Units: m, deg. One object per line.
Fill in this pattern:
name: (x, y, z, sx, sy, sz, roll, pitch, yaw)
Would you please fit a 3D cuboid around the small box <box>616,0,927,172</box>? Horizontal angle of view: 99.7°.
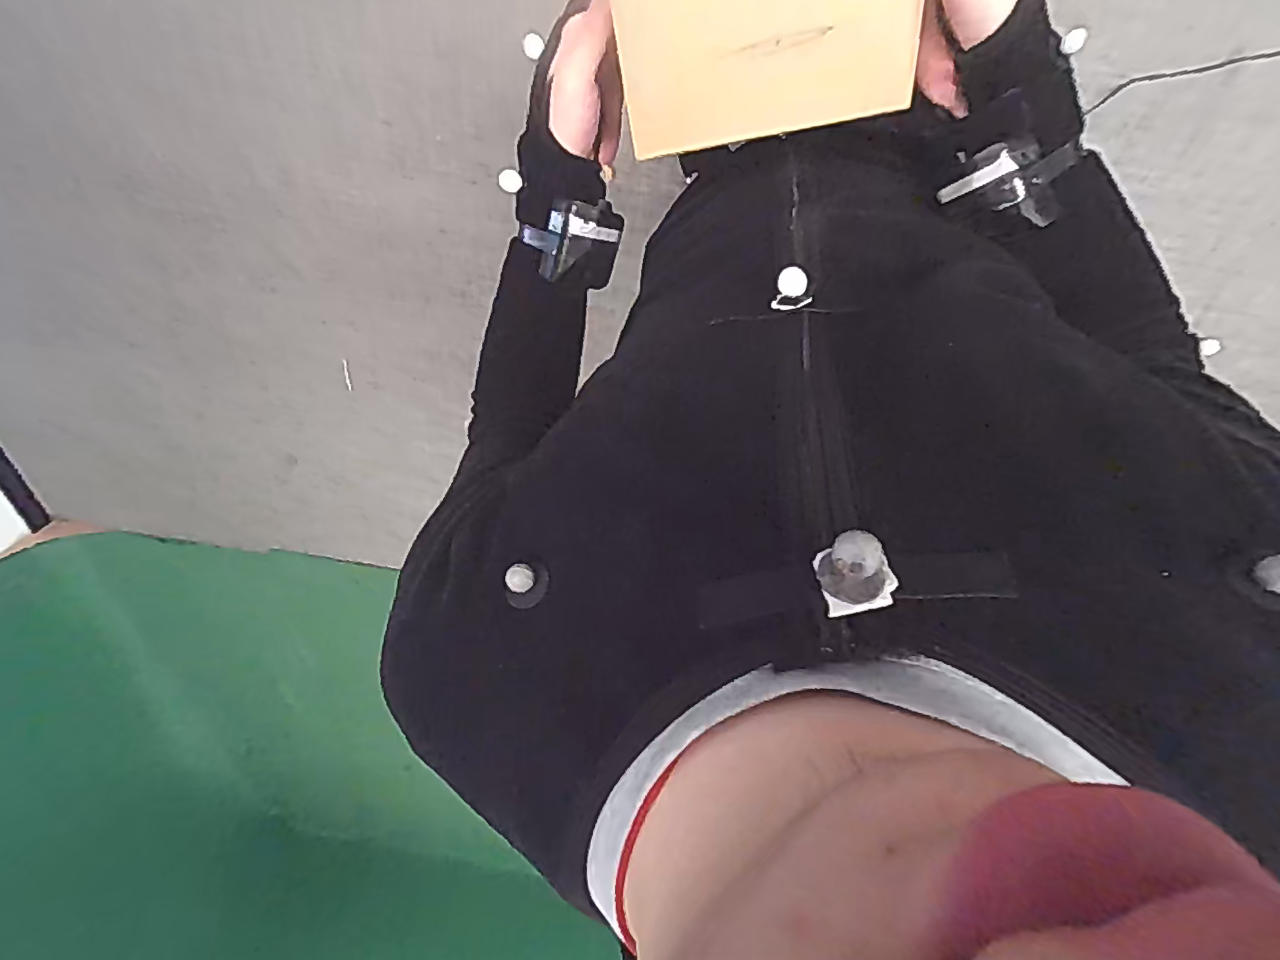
small box: (0.071, -0.320, 0.336, 0.168, 0.176, 0.179, -4, 133, 10)
